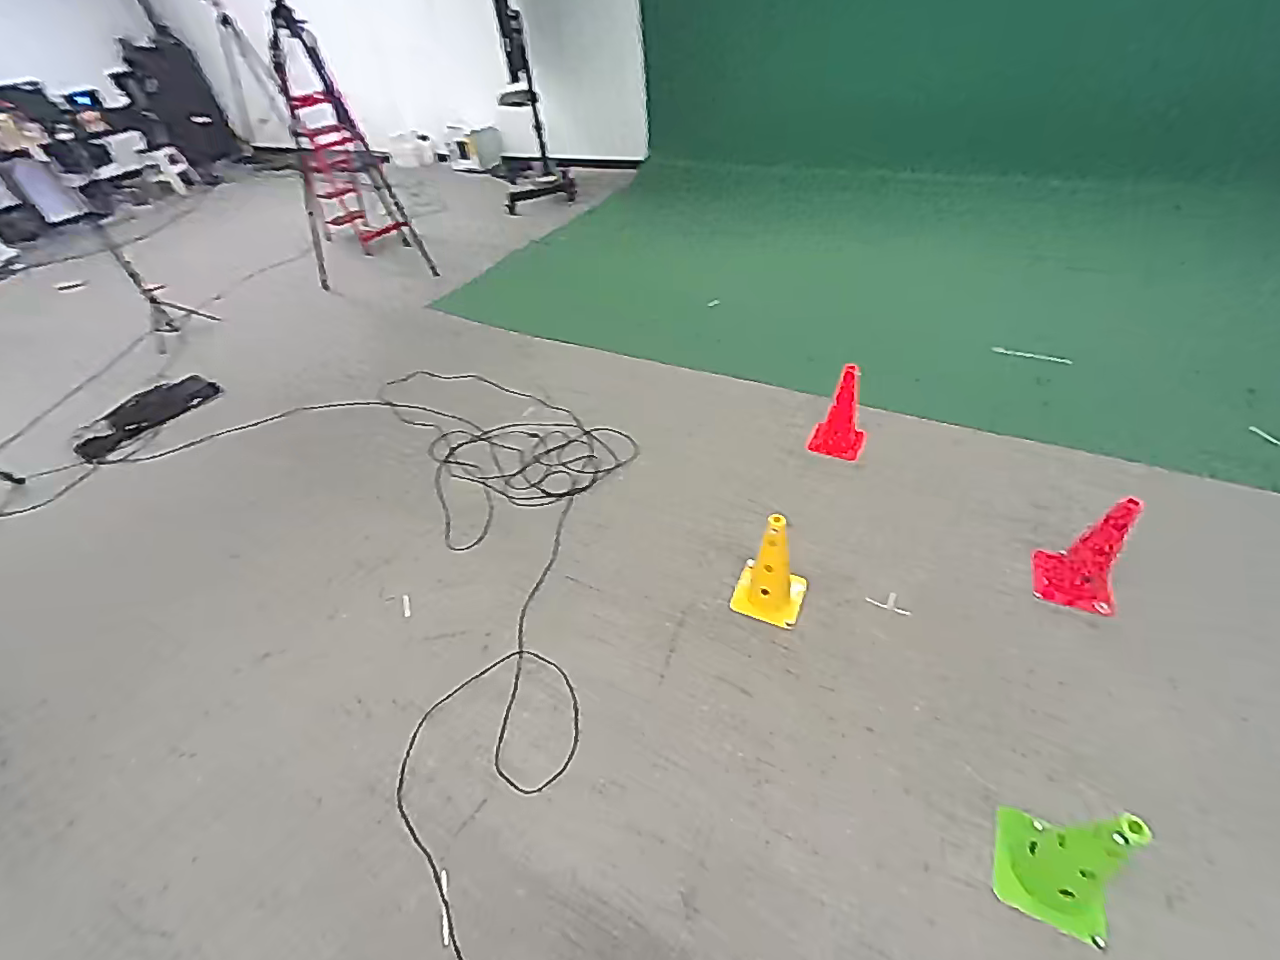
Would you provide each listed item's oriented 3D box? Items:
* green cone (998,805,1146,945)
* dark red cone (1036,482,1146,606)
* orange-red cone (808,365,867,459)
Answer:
[{"bbox_3d":[0.869,0.711,1.045,0.202,0.368,0.200,15,48,24],"label":"green cone"},{"bbox_3d":[1.303,0.162,1.522,0.202,0.394,0.201,13,46,21],"label":"dark red cone"},{"bbox_3d":[0.791,-0.285,2.101,0.198,0.360,0.199,17,50,25],"label":"orange-red cone"}]
